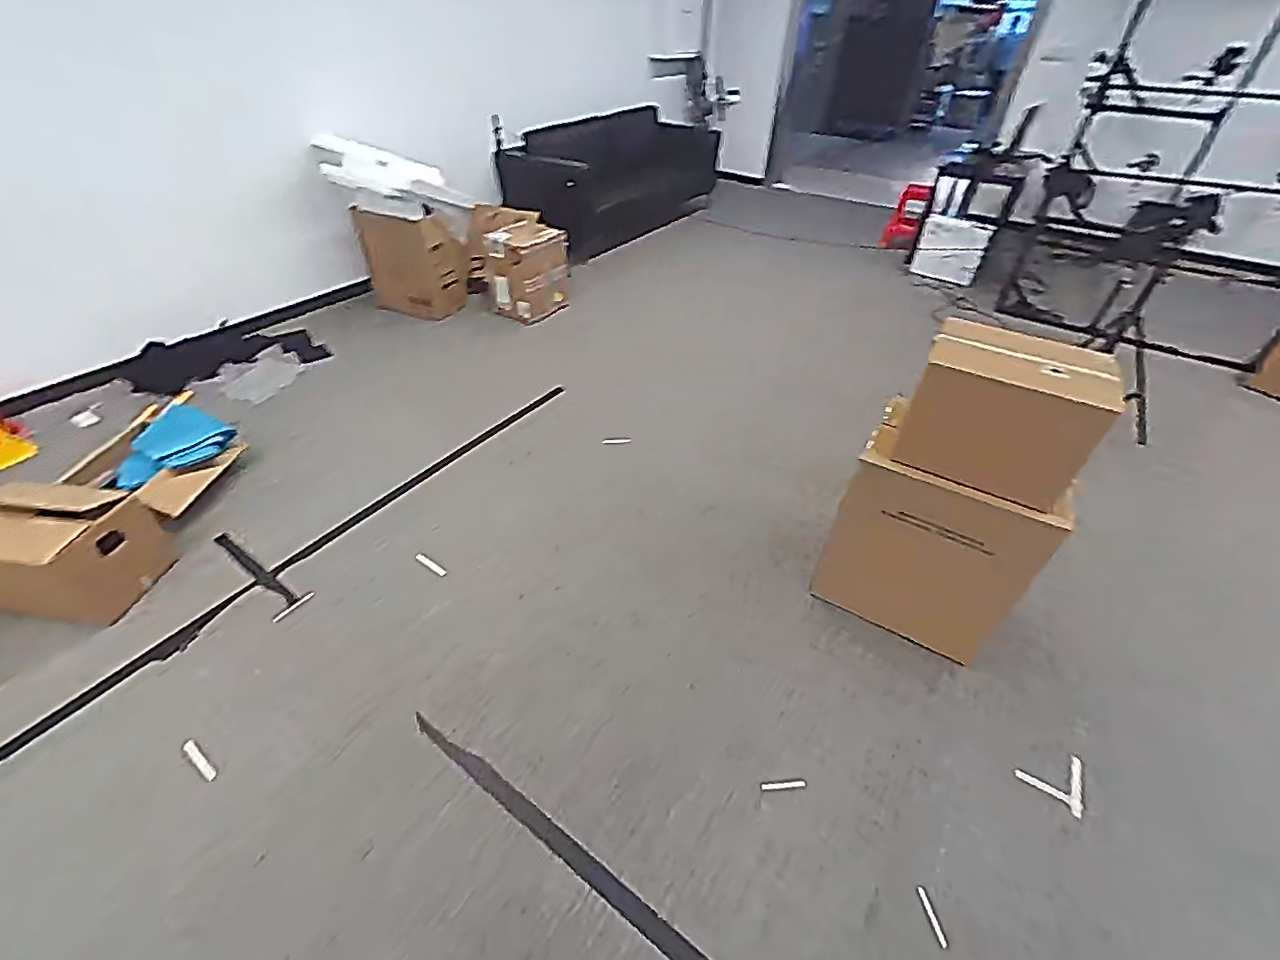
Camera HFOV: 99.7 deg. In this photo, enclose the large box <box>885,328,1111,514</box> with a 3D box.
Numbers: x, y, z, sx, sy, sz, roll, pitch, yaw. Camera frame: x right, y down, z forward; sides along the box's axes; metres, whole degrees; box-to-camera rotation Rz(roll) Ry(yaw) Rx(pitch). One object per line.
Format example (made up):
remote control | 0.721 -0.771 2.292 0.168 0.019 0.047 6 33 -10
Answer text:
large box | 0.940 -0.169 1.461 0.408 0.320 0.320 23 45 22
